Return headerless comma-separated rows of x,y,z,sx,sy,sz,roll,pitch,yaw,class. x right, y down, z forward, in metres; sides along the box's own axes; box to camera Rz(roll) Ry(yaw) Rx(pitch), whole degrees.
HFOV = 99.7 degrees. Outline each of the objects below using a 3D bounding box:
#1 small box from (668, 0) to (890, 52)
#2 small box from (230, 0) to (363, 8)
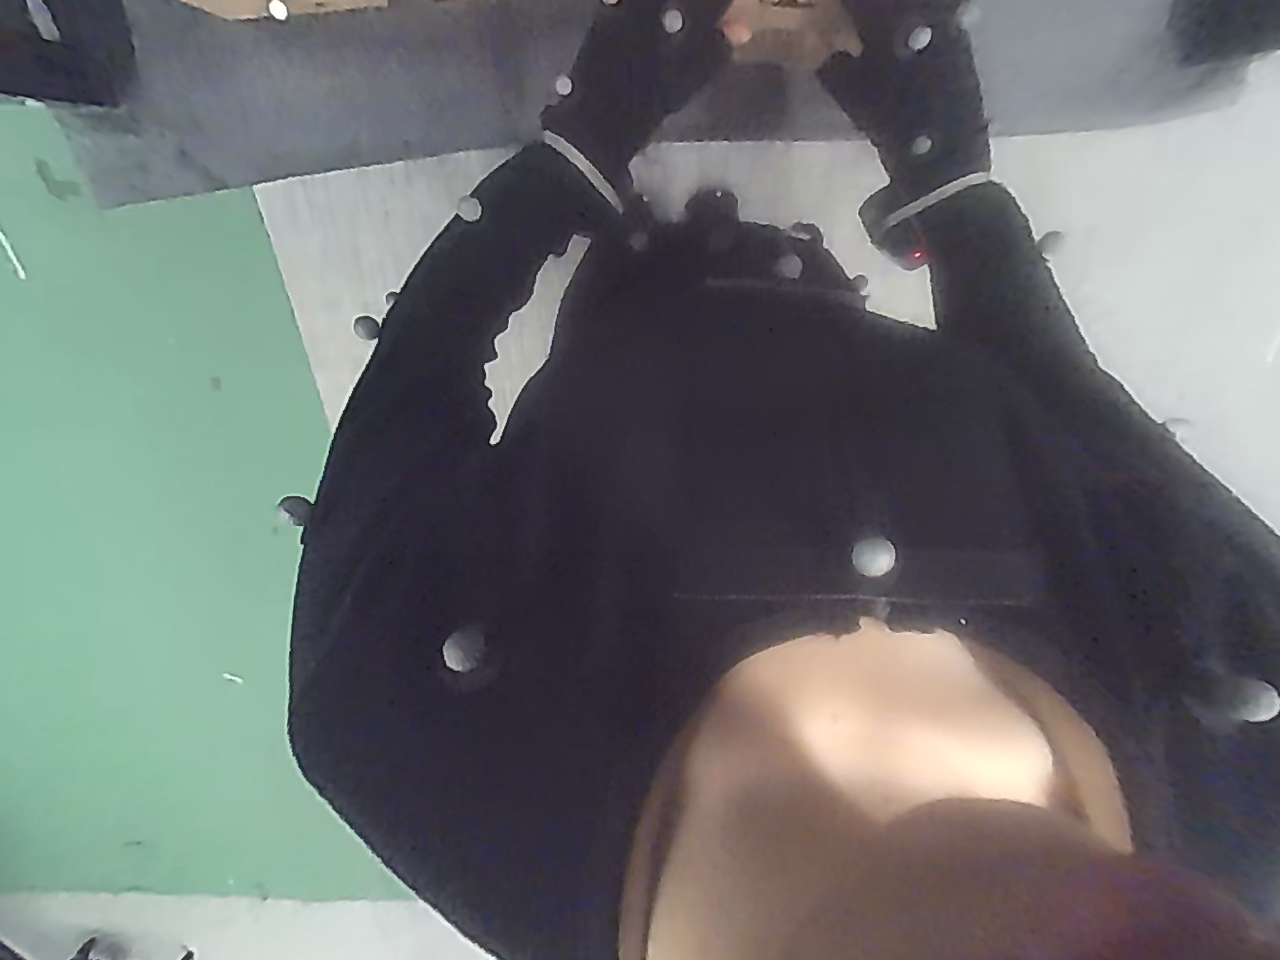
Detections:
0.110,-0.461,0.421,0.168,0.176,0.179,3,118,0,small box
-0.327,-0.498,0.409,0.168,0.176,0.179,-3,119,3,small box
